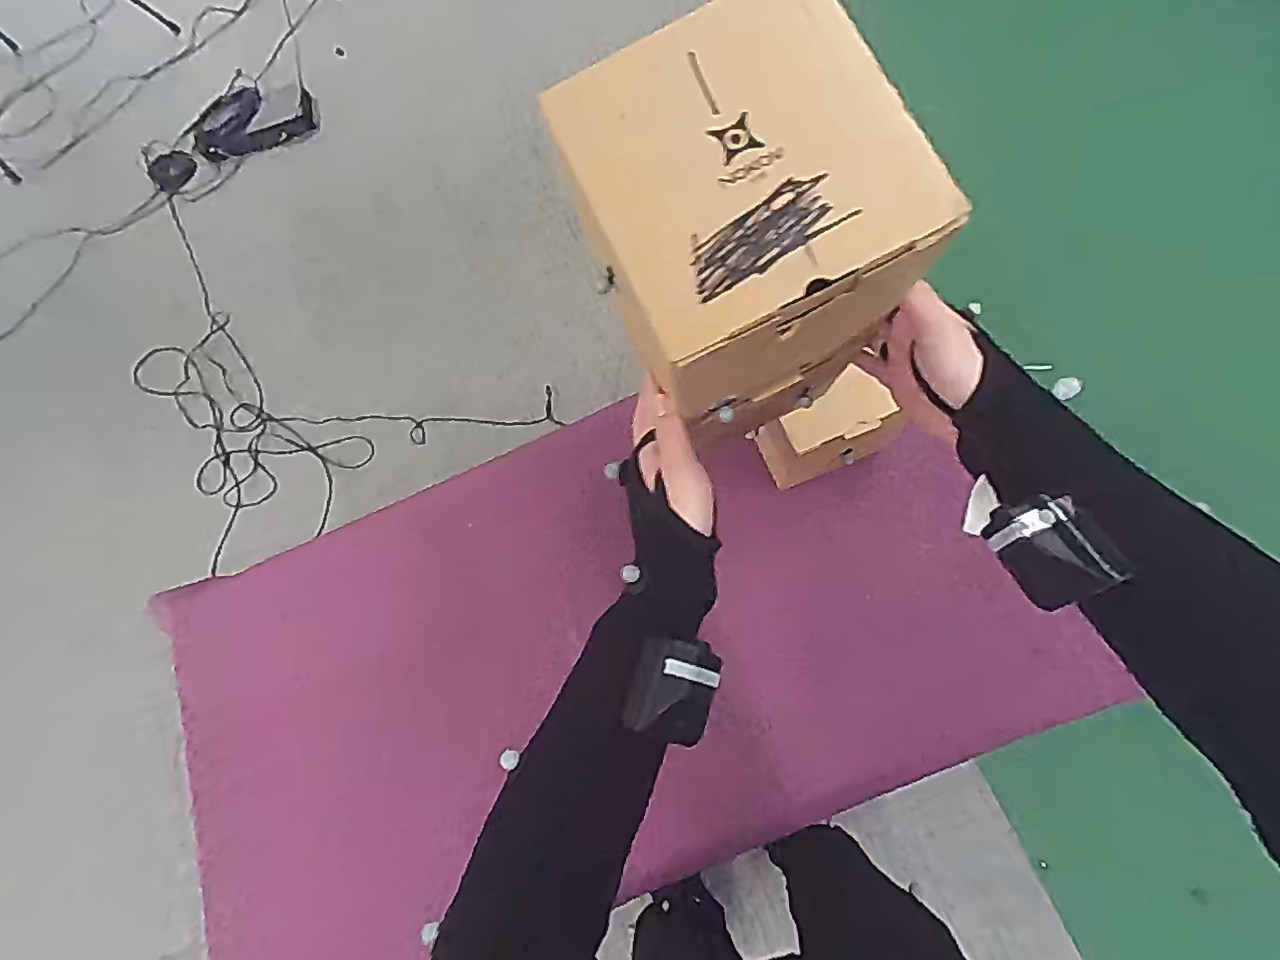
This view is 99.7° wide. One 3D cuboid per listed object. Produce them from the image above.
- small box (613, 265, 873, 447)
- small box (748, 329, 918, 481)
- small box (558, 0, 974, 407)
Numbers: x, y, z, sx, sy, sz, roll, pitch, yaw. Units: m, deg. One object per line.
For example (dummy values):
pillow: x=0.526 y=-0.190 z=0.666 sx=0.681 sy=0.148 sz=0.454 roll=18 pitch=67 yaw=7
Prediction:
small box: x=0.092 y=-0.143 z=0.527 sx=0.168 sy=0.176 sz=0.179 roll=-25 pitch=81 yaw=3
small box: x=0.234 y=-0.111 z=0.734 sx=0.168 sy=0.176 sz=0.179 roll=-22 pitch=73 yaw=1
small box: x=0.070 y=-0.164 z=0.365 sx=0.168 sy=0.176 sz=0.179 roll=-26 pitch=81 yaw=3
